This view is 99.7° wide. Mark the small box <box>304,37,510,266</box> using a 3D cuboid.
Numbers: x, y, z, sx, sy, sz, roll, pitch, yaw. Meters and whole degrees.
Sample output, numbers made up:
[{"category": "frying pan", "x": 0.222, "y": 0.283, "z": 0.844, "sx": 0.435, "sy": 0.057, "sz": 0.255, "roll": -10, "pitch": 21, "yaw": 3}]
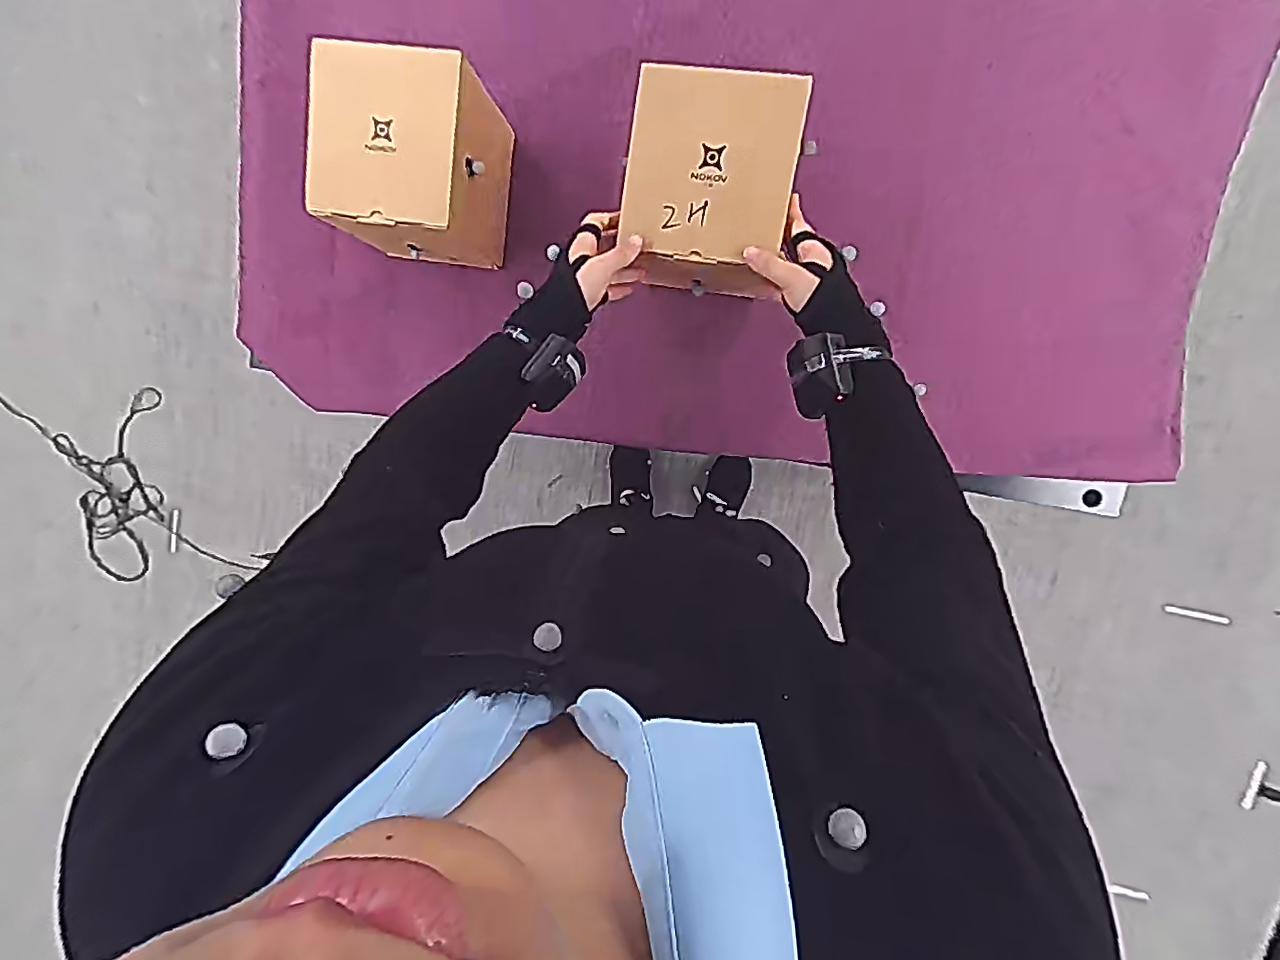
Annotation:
[{"category": "small box", "x": -0.265, "y": -0.375, "z": 0.648, "sx": 0.168, "sy": 0.176, "sz": 0.179, "roll": 9, "pitch": 99, "yaw": 4}]

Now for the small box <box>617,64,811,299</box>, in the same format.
[{"category": "small box", "x": 0.080, "y": -0.317, "z": 0.607, "sx": 0.168, "sy": 0.176, "sz": 0.179, "roll": 10, "pitch": 100, "yaw": 8}]
